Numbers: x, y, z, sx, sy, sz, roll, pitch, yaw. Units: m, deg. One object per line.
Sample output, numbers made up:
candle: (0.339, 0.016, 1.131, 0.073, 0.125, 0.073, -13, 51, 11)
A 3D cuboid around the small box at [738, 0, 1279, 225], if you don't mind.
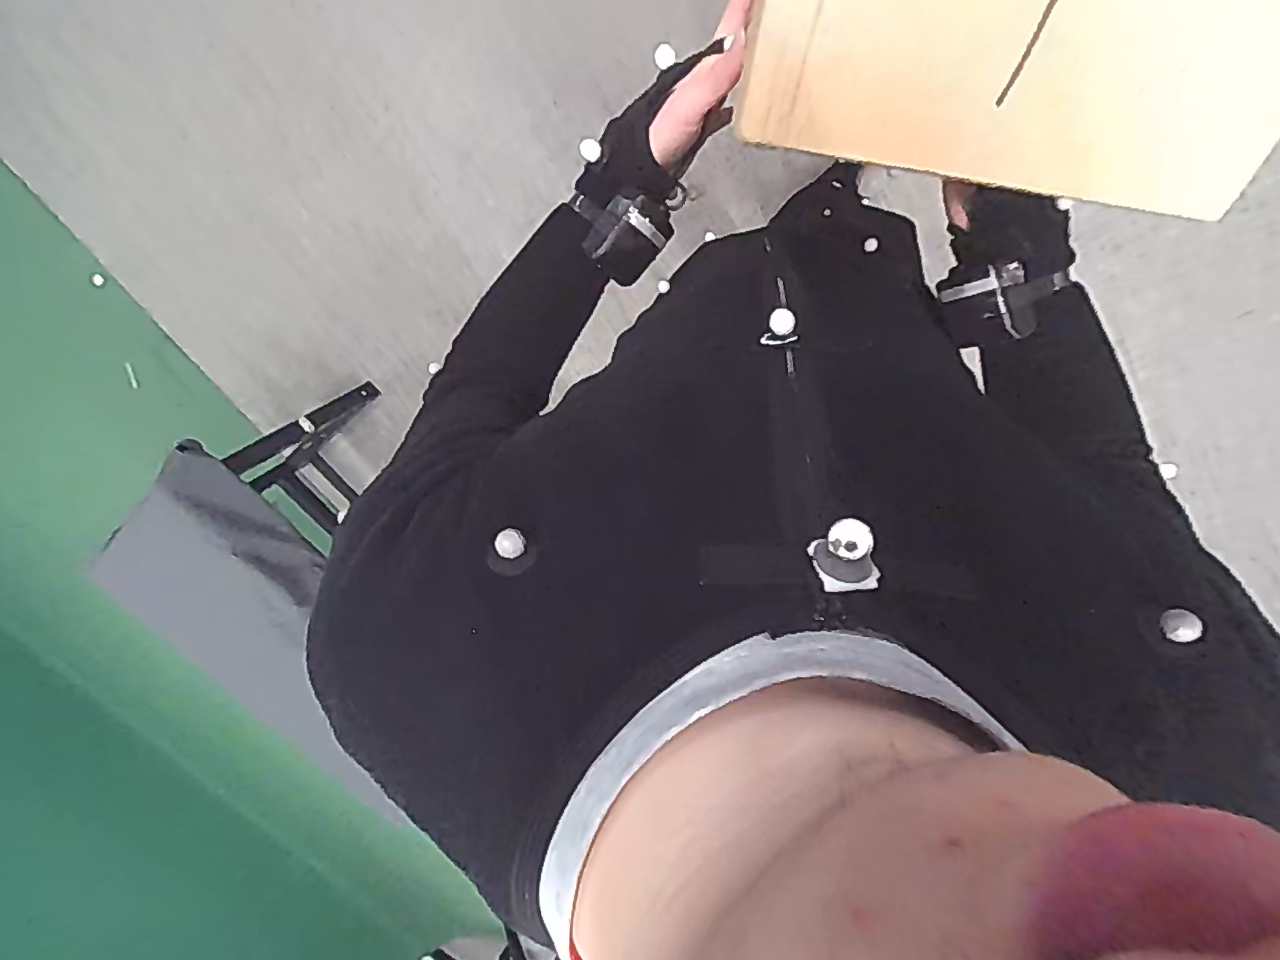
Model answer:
small box: (0.134, -0.215, 0.196, 0.168, 0.176, 0.179, 12, 126, 2)
